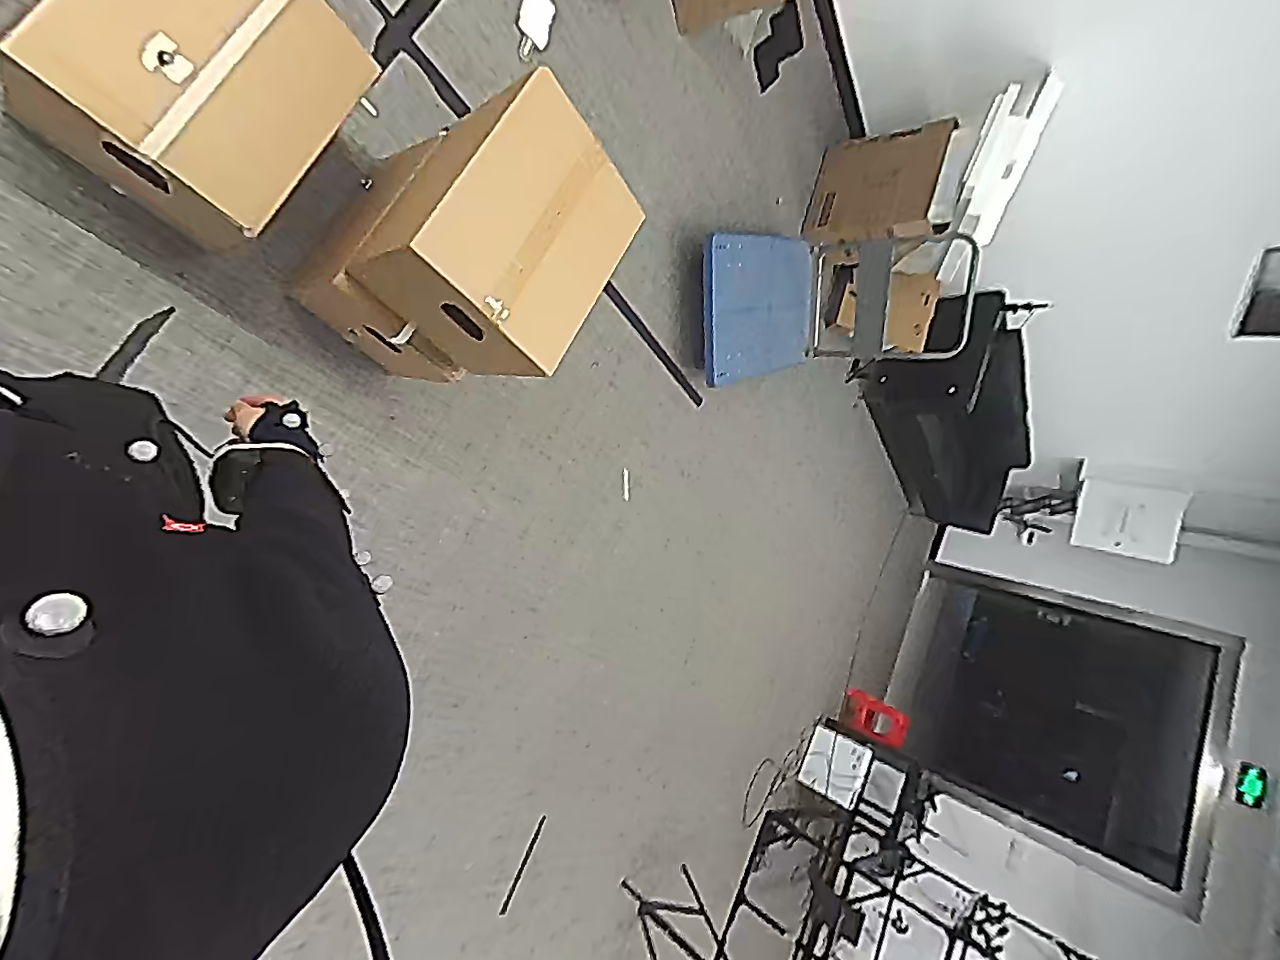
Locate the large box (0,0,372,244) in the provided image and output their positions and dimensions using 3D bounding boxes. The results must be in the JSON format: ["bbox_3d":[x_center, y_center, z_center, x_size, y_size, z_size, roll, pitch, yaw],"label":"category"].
[{"bbox_3d":[-0.752,-0.676,0.917,0.320,0.320,0.408,40,71,-46],"label":"large box"}]
